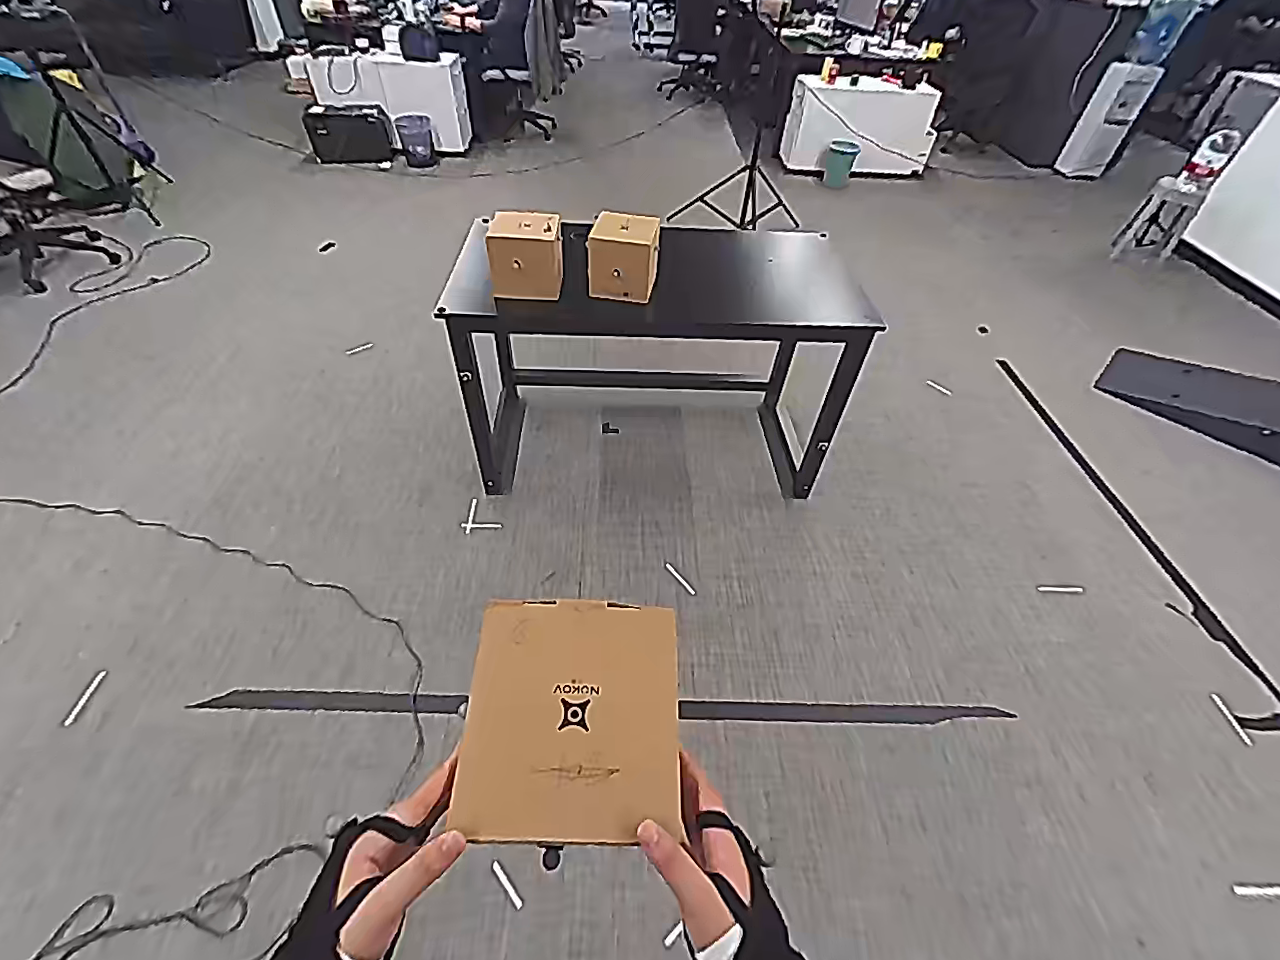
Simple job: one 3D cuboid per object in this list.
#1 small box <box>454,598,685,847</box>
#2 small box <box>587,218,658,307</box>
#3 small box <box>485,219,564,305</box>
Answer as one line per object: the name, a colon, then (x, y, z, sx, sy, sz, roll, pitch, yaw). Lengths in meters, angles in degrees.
small box: (-0.056, 0.224, 0.491, 0.168, 0.176, 0.179, 3, 55, -4)
small box: (-0.046, -0.602, 1.501, 0.168, 0.176, 0.179, 9, 46, 4)
small box: (-0.308, -0.594, 1.477, 0.179, 0.176, 0.168, 1, 47, -2)
